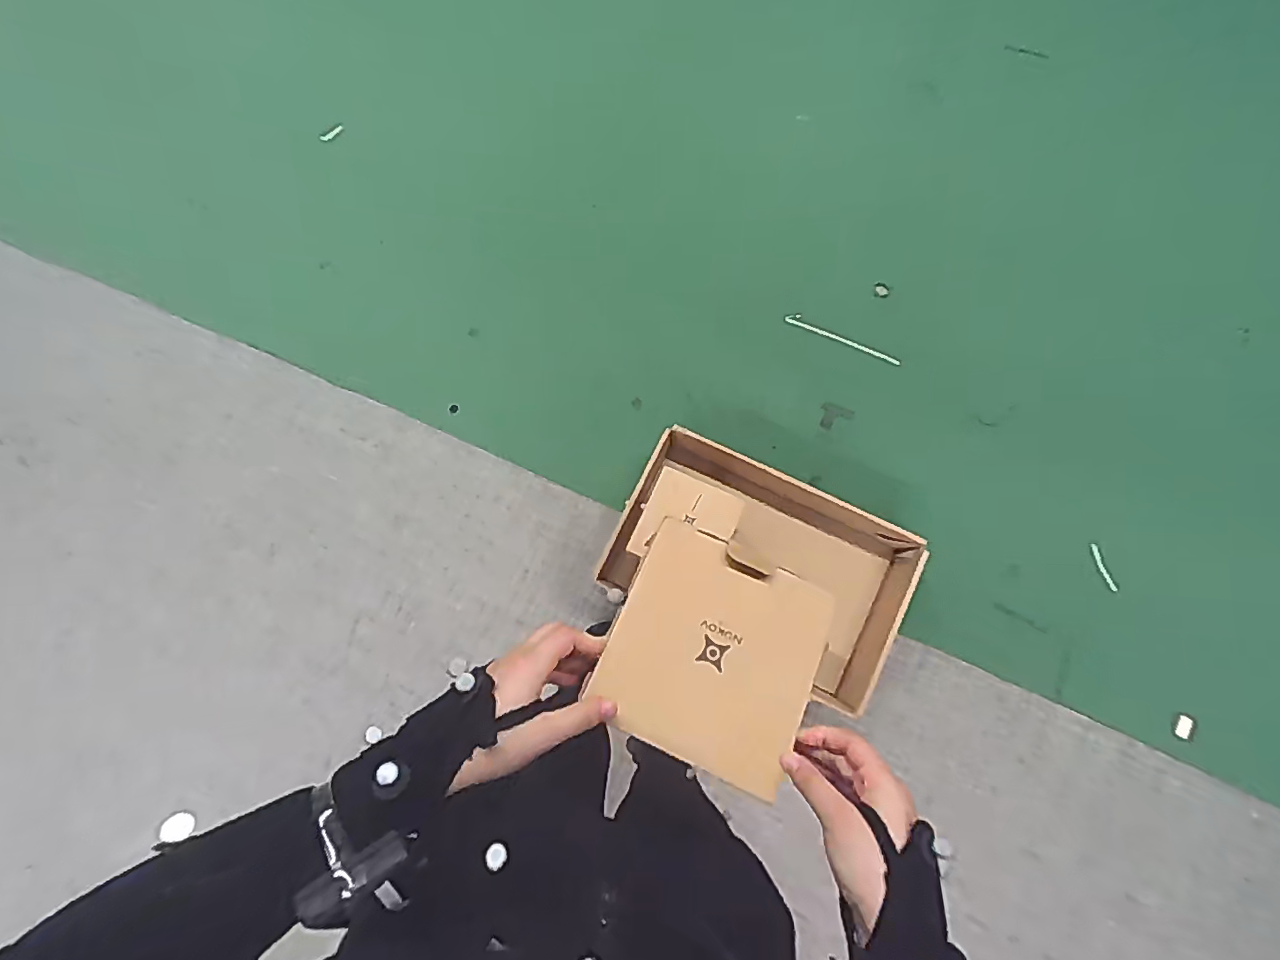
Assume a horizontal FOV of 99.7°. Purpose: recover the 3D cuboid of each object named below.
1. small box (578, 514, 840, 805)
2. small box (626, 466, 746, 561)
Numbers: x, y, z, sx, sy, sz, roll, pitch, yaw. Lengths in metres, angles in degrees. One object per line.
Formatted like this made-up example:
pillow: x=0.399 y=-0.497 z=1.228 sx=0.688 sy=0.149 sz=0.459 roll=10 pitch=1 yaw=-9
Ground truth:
small box: x=0.055 y=0.163 z=0.507 sx=0.168 sy=0.176 sz=0.179 roll=25 pitch=69 yaw=4
small box: x=0.087 y=0.098 z=1.046 sx=0.168 sy=0.176 sz=0.179 roll=25 pitch=81 yaw=6
